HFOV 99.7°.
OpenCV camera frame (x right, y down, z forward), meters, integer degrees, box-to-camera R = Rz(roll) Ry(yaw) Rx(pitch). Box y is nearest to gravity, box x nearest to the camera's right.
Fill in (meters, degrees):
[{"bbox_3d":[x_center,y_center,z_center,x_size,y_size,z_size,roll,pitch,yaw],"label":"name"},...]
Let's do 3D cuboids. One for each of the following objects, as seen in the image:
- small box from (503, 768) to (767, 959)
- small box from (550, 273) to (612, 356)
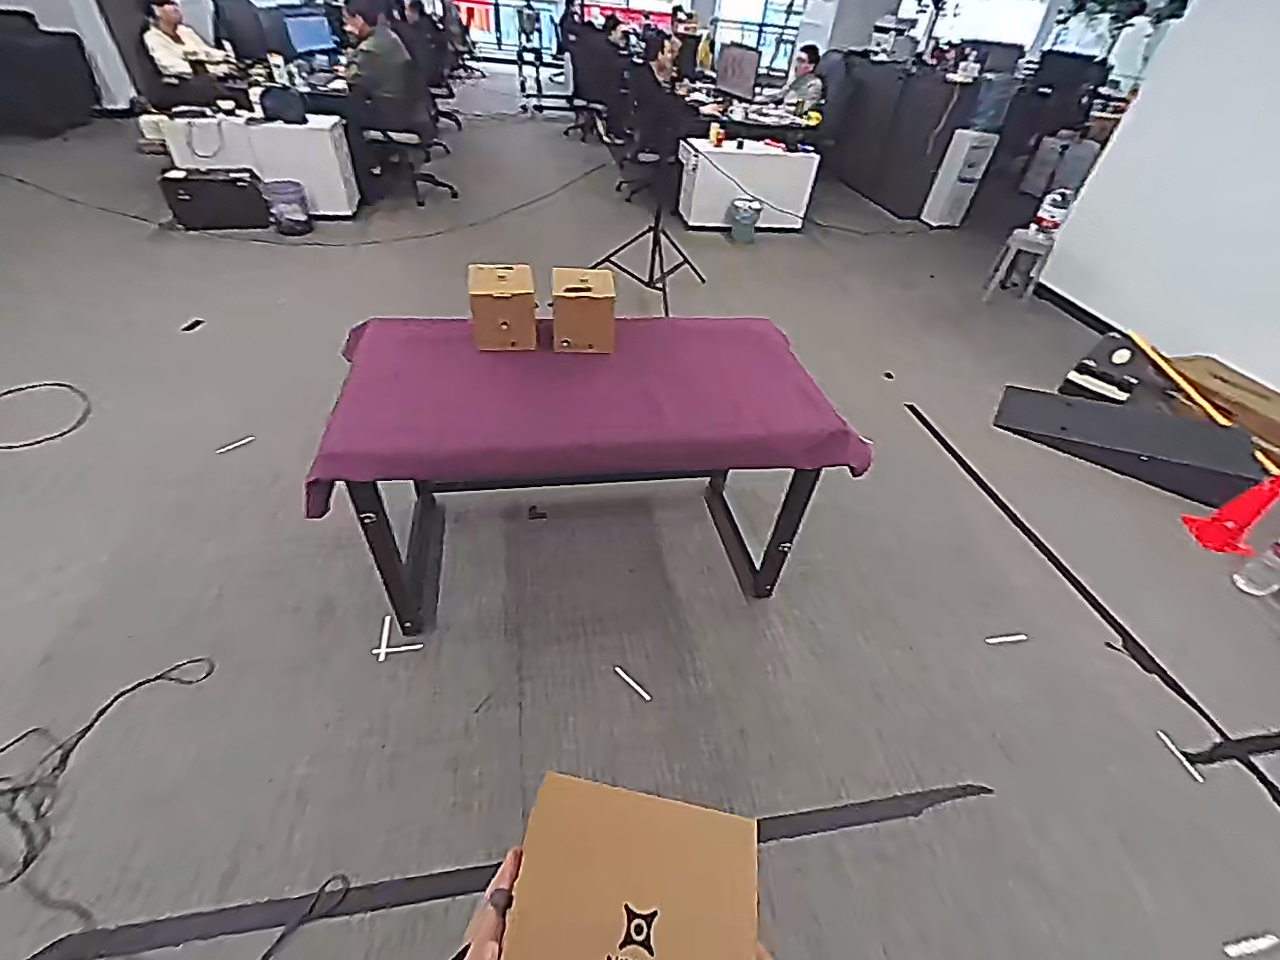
[{"bbox_3d":[-0.013,0.352,0.408,0.168,0.176,0.179,15,46,-2],"label":"small box"},{"bbox_3d":[-0.167,-0.464,1.523,0.168,0.176,0.179,-1,43,-8],"label":"small box"}]
